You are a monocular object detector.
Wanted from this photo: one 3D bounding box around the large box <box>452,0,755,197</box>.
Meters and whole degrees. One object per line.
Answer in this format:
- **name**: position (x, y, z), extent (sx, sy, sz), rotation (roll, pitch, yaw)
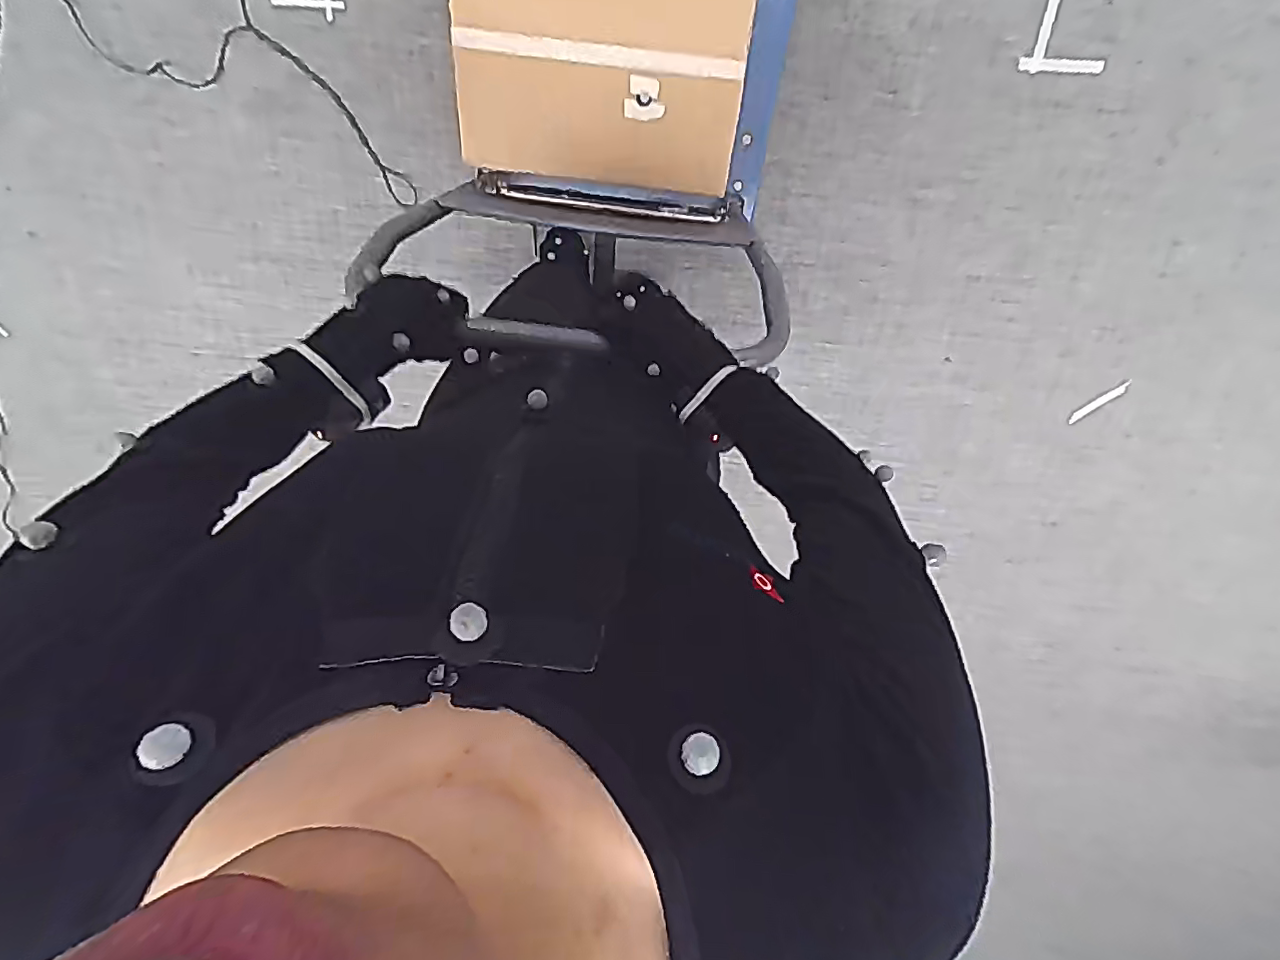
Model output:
- **large box**: position (-0.053, -0.659, 0.865), extent (0.408, 0.320, 0.320), rotation (5, 125, -2)
